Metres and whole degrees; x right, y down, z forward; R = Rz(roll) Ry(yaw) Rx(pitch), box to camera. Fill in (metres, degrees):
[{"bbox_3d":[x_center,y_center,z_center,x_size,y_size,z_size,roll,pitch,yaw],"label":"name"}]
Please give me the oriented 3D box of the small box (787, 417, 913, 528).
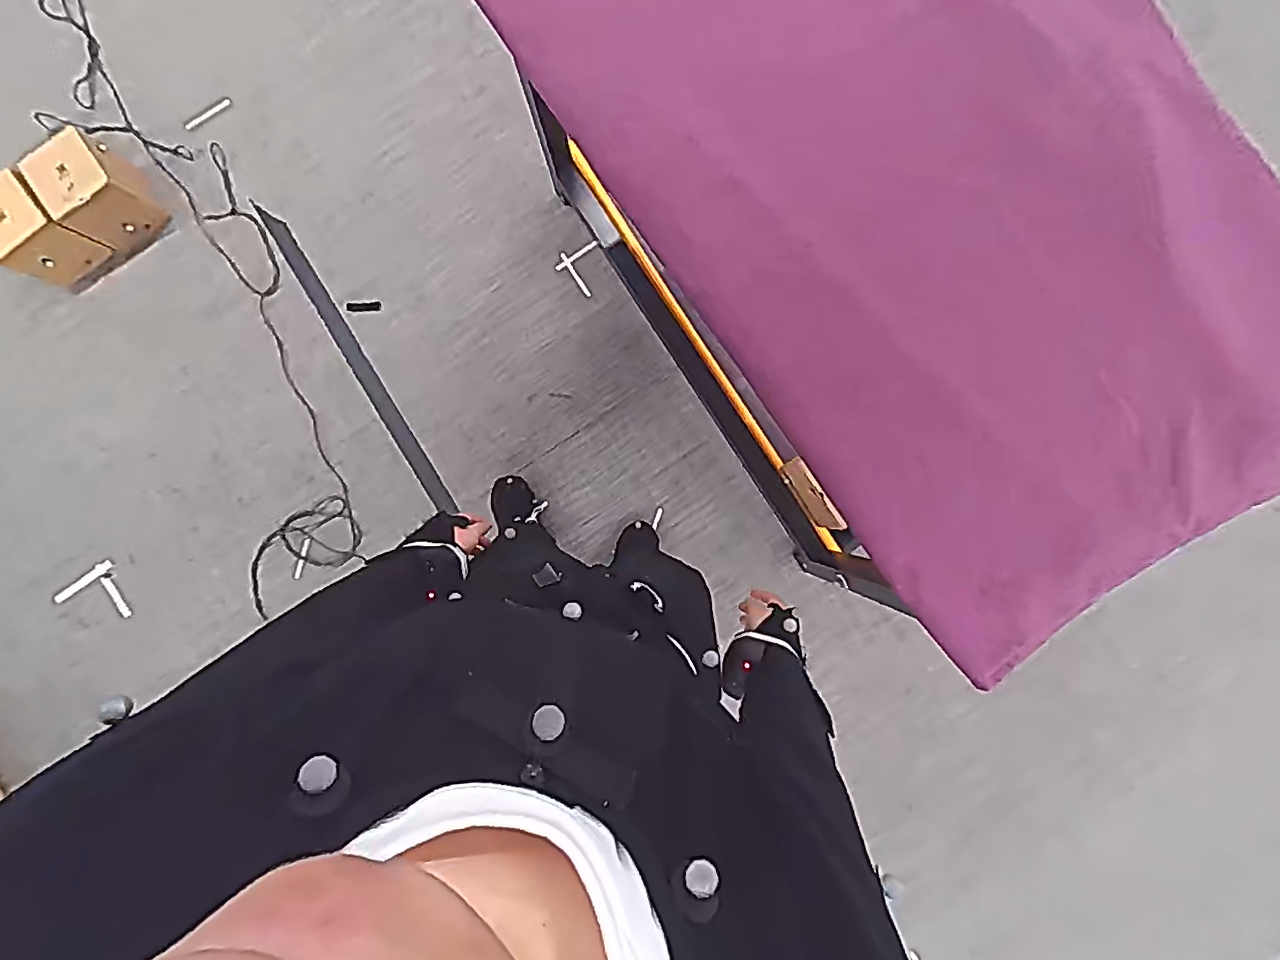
[{"bbox_3d":[0.436,-0.010,1.163,0.179,0.176,0.168,-32,87,-1],"label":"small box"}]
